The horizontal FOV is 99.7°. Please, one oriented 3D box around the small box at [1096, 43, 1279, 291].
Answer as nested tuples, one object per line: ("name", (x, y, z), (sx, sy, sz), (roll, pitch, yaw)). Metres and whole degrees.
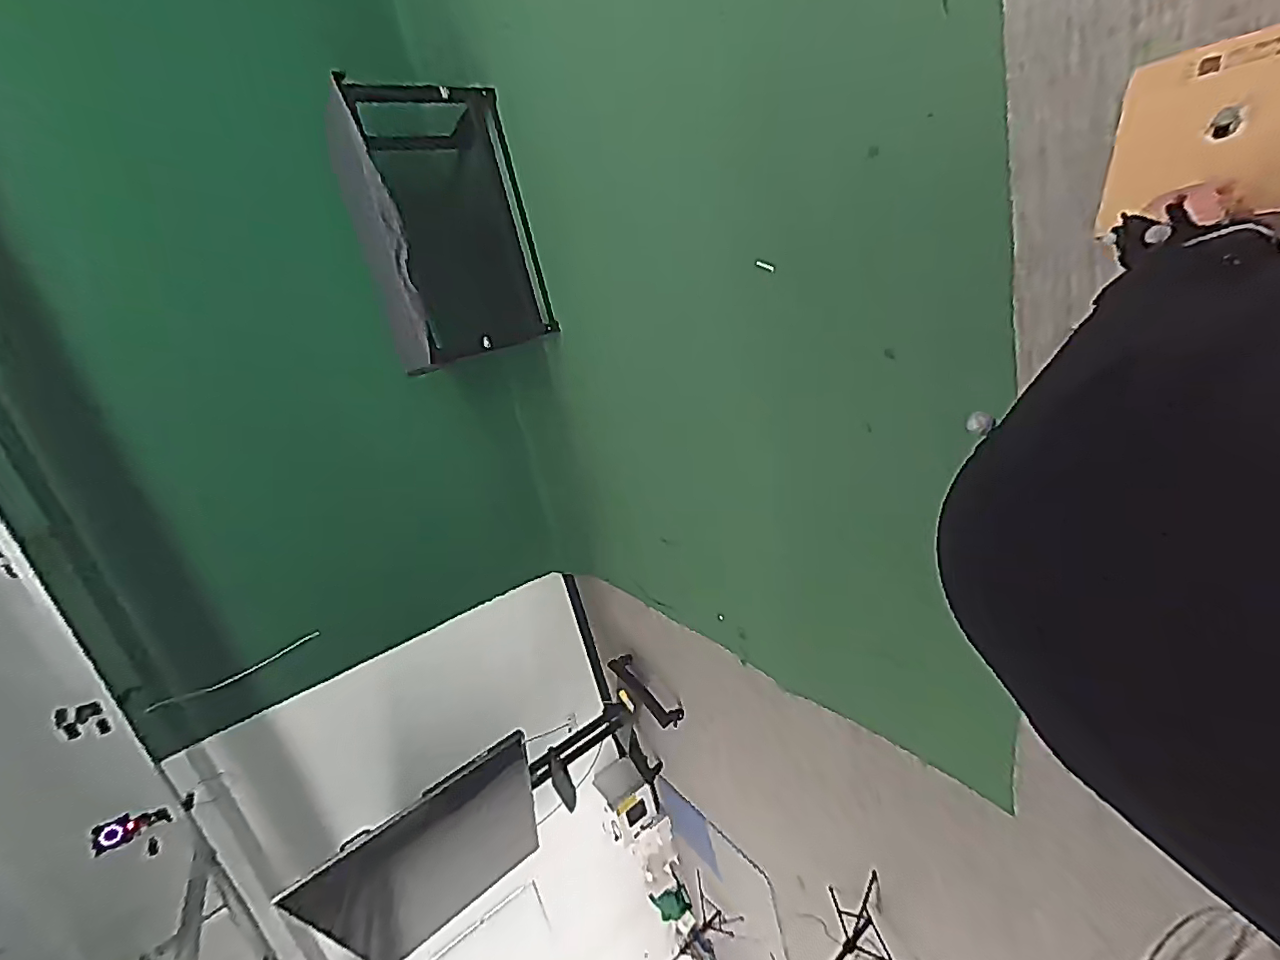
("small box", (0.609, -0.314, 0.560), (0.168, 0.179, 0.176), (14, 97, 51))
